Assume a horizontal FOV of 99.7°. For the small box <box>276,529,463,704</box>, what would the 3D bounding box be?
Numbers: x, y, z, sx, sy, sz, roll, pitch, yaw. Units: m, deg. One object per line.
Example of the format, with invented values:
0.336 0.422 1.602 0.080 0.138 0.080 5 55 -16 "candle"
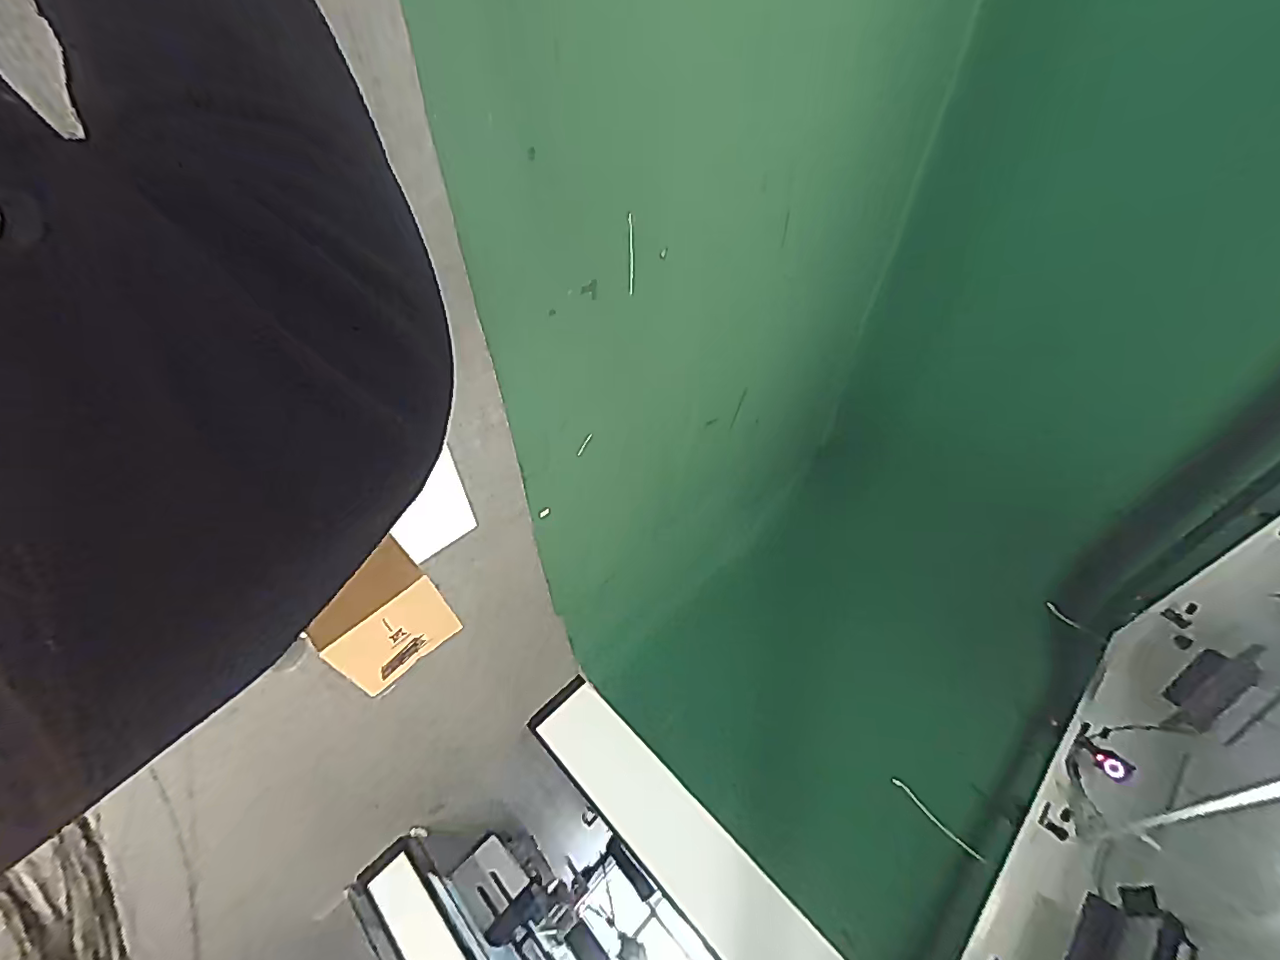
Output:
-0.412 0.207 0.838 0.168 0.176 0.179 -40 150 -22 "small box"
